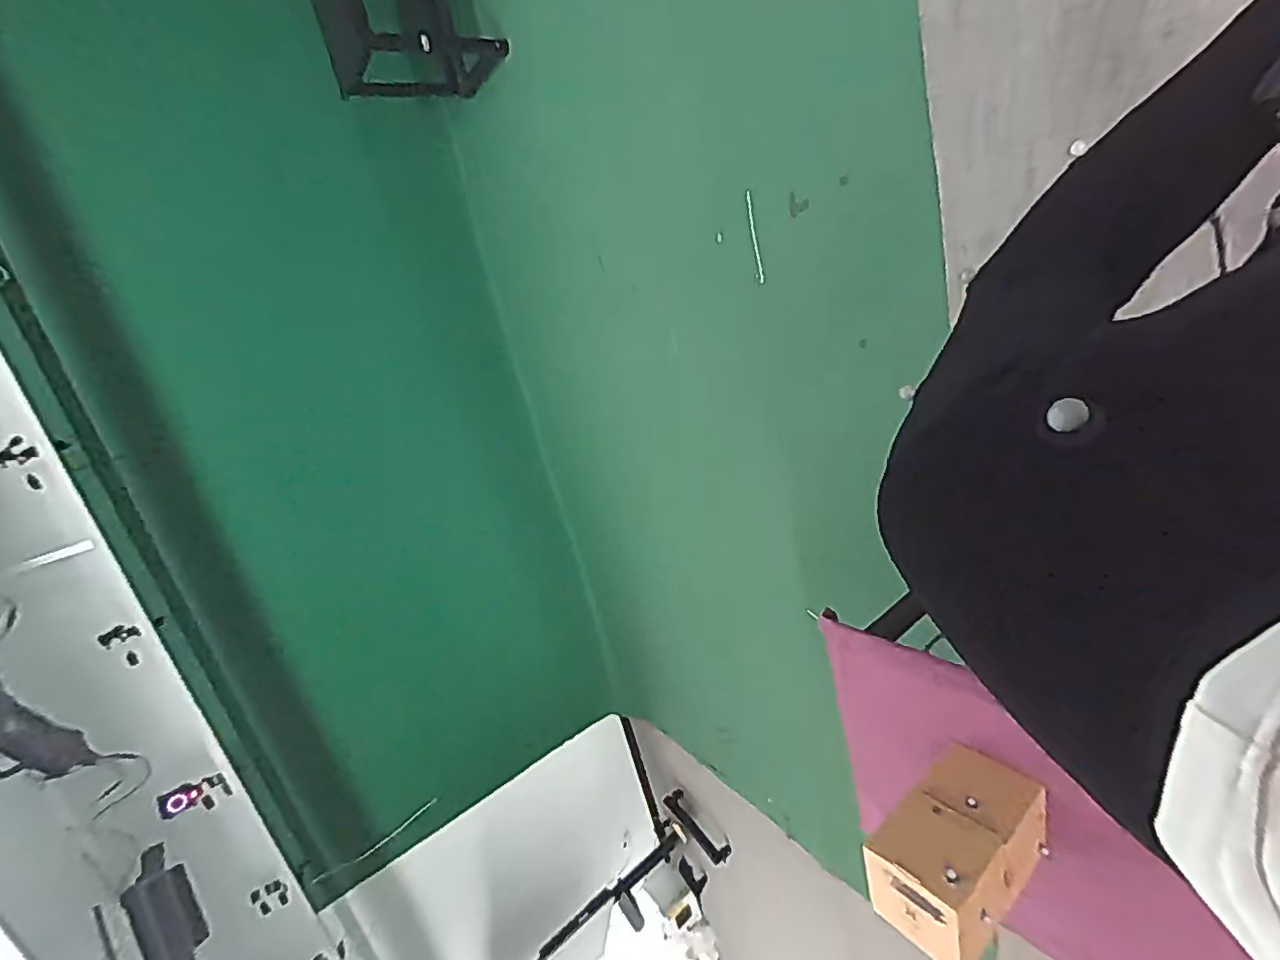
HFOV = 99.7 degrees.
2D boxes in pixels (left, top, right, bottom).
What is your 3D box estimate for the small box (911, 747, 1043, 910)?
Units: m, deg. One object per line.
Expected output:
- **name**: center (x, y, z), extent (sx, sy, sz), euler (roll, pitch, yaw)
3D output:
- **small box**: center (0.667, 0.670, 1.066), extent (0.179, 0.176, 0.168), euler (11, 119, 54)
